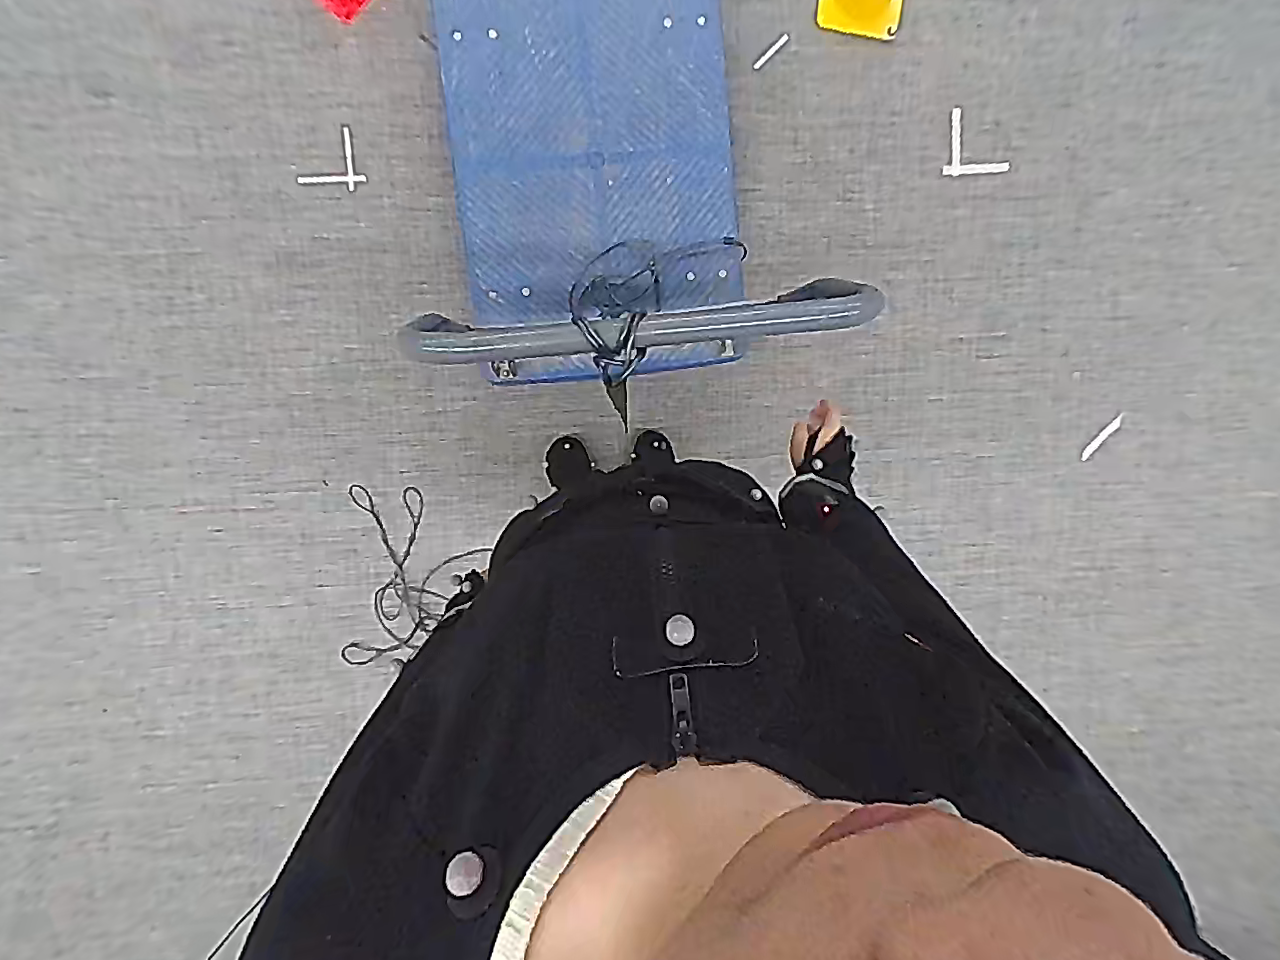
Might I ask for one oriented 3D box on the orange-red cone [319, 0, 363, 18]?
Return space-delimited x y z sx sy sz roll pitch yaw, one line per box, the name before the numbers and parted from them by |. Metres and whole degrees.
orange-red cone | -0.645 -1.124 1.007 0.198 0.360 0.199 43 91 -9
